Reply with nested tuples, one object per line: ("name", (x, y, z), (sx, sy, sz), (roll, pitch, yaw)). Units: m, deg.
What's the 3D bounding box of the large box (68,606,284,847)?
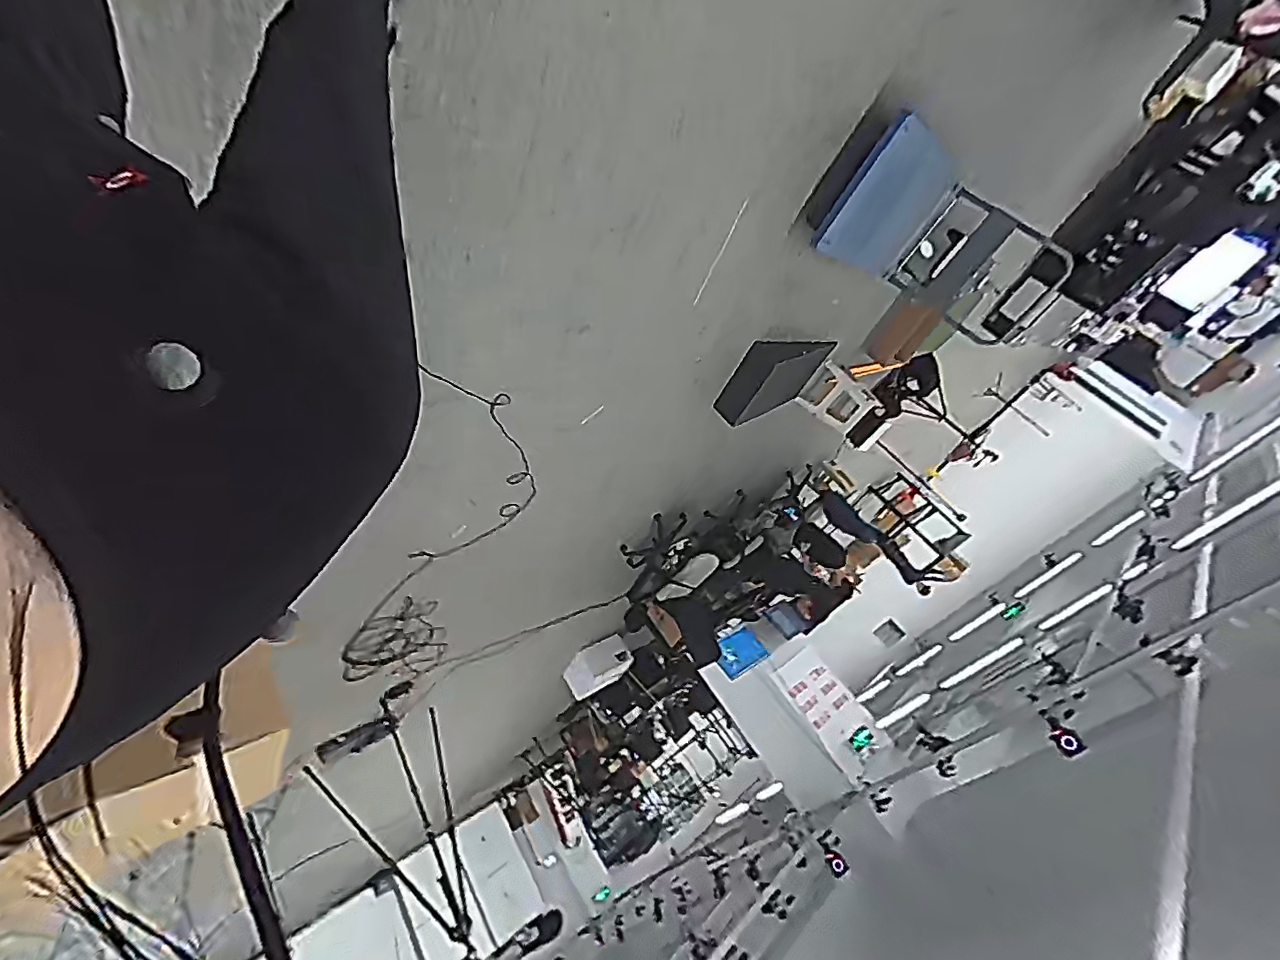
("large box", (-1.059, 0.558, 1.254), (0.320, 0.320, 0.408), (-10, 144, -45))
